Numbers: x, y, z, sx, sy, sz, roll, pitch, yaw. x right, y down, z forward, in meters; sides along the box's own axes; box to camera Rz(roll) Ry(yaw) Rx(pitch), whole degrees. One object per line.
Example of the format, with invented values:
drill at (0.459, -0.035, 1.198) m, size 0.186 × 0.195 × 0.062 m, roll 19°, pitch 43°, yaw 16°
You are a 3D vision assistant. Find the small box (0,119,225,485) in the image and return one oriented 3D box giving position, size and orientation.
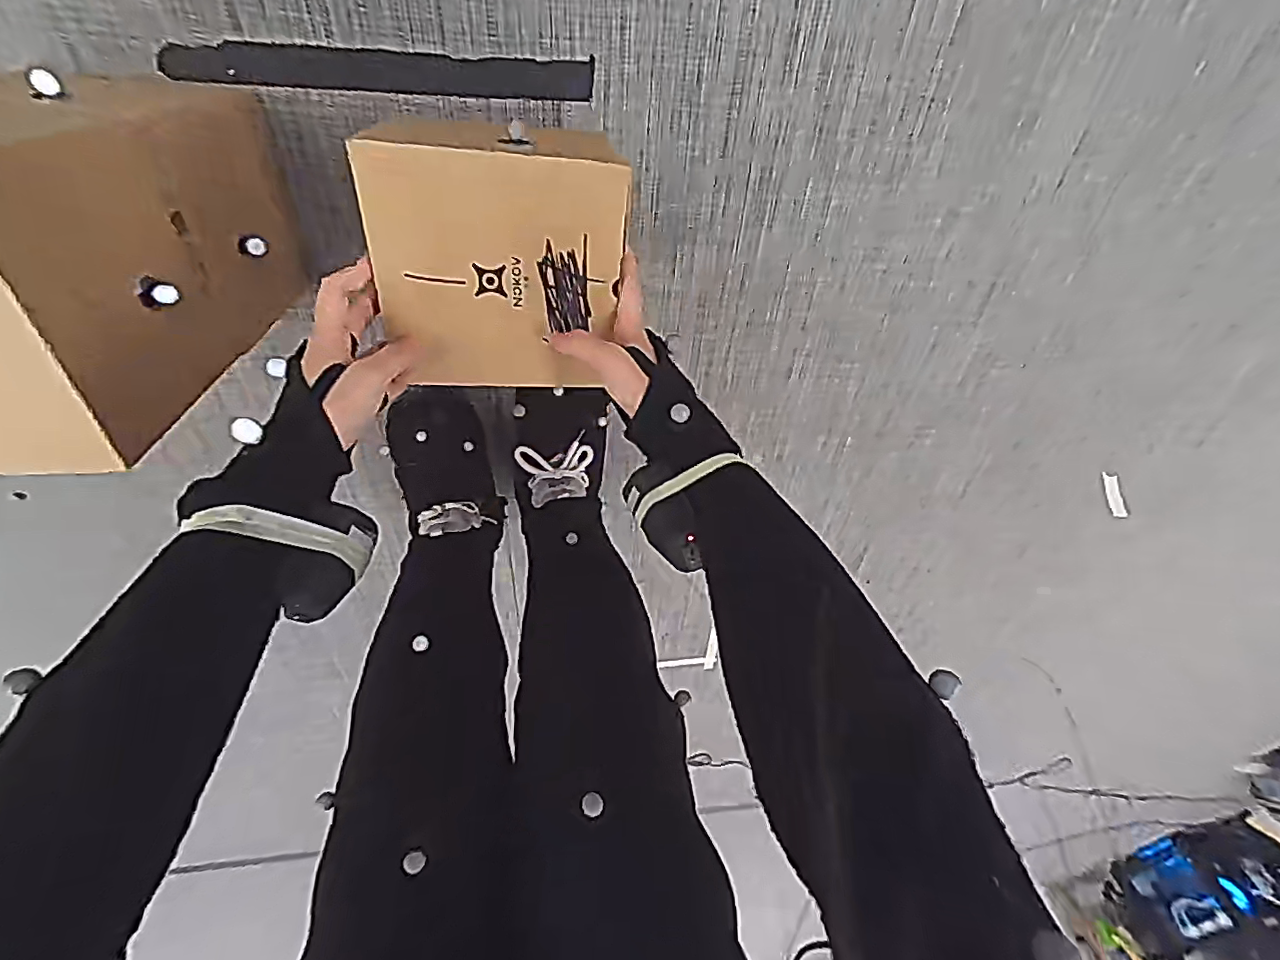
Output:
small box at (-0.393, -0.112, 0.323) m, size 0.179 × 0.176 × 0.168 m, roll -1°, pitch 129°, yaw -8°

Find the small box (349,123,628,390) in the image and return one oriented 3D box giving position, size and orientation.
small box at (-0.113, -0.188, 0.452) m, size 0.179 × 0.176 × 0.168 m, roll -1°, pitch 128°, yaw -10°
